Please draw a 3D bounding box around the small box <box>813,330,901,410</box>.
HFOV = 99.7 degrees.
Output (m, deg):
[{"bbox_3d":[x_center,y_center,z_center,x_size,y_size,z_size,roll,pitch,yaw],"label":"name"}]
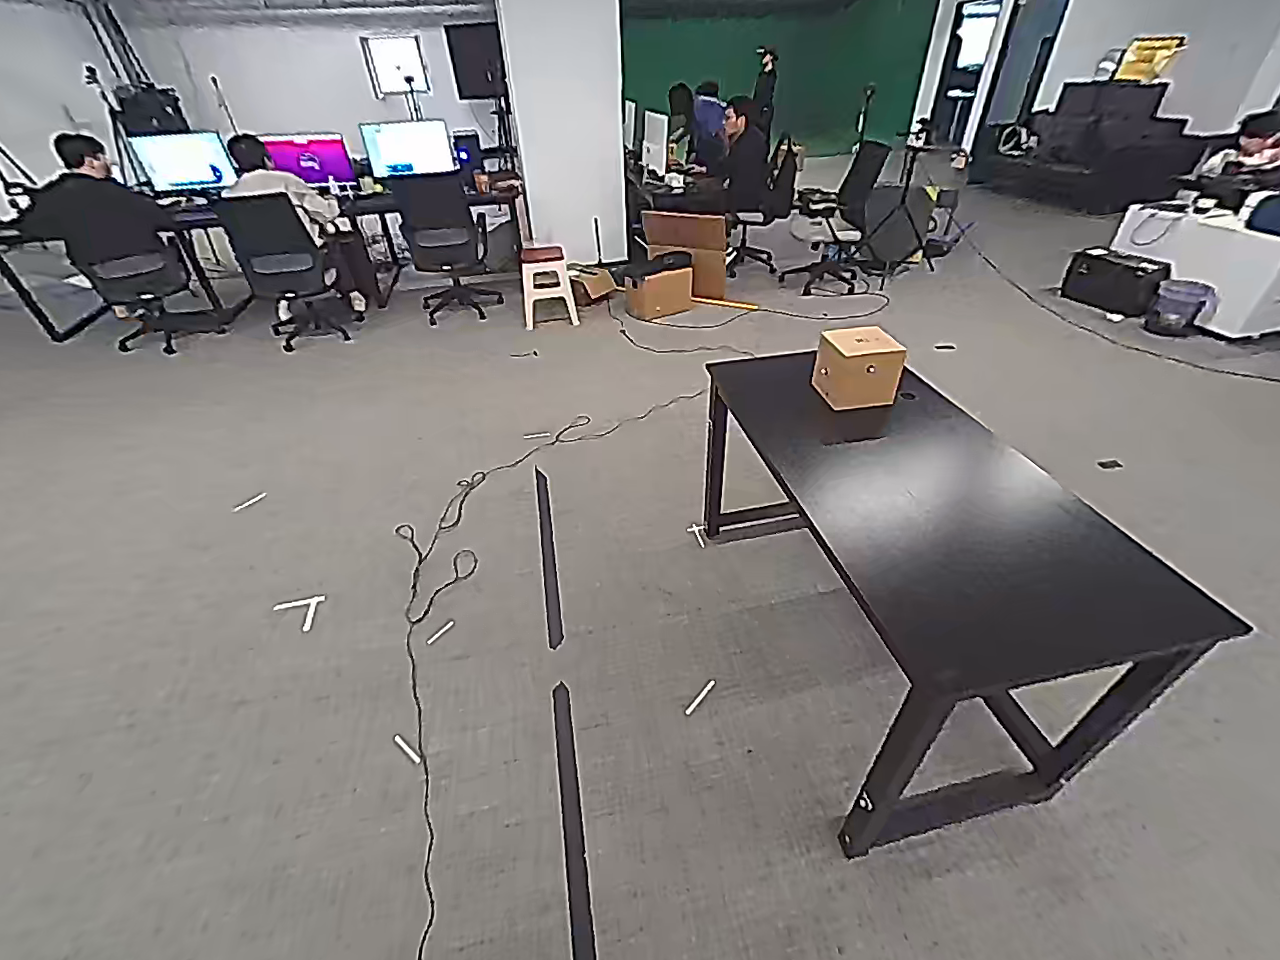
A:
[{"bbox_3d":[0.606,-0.311,1.541,0.179,0.176,0.168,-8,38,-6],"label":"small box"}]
